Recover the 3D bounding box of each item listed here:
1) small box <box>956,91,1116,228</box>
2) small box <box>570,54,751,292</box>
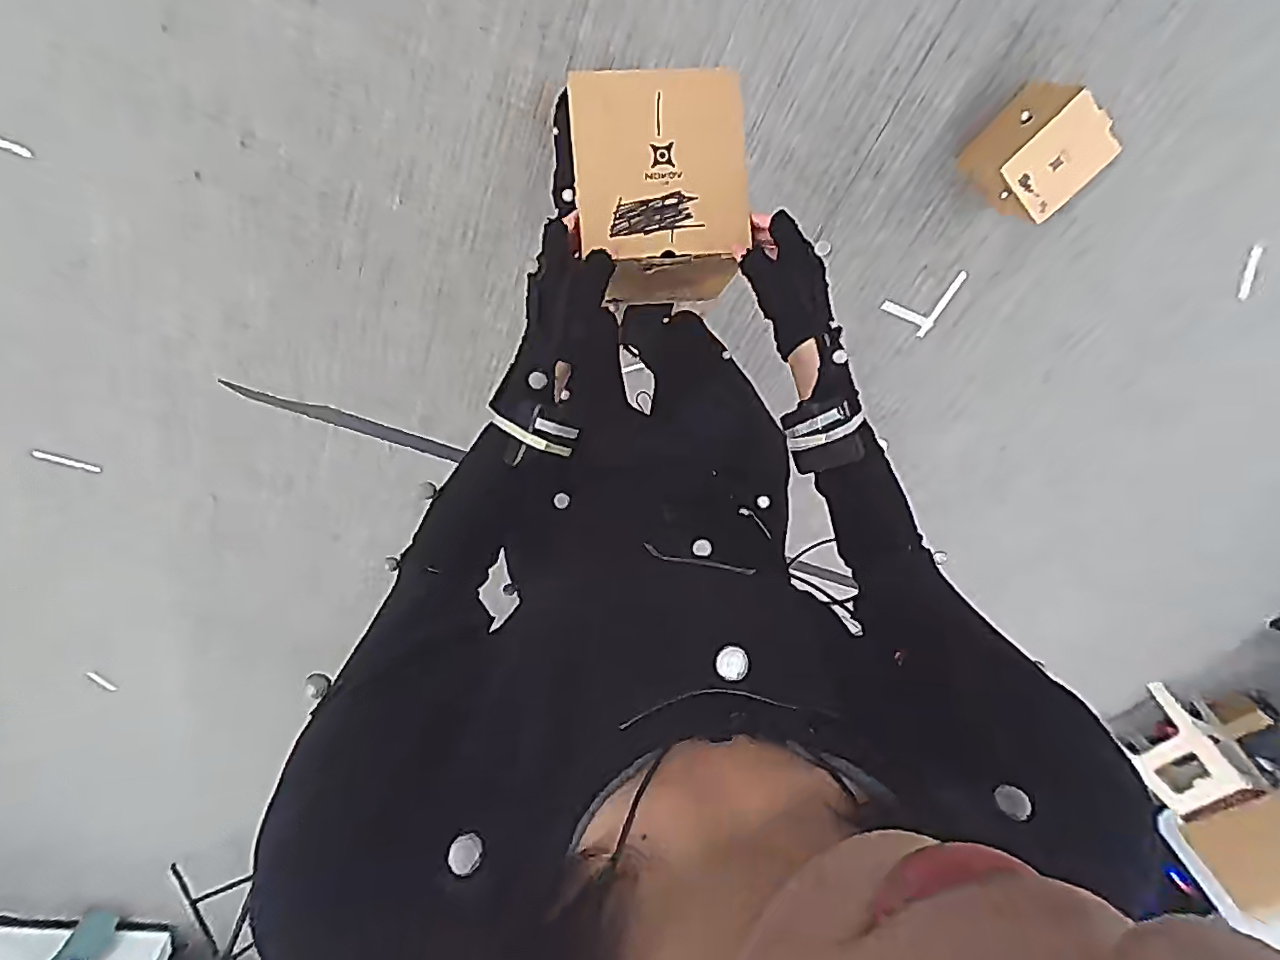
[{"bbox_3d":[0.808,-0.664,1.118,0.168,0.176,0.179,32,117,-25],"label":"small box"},{"bbox_3d":[0.017,-0.312,0.588,0.168,0.176,0.179,-5,93,-4],"label":"small box"}]
